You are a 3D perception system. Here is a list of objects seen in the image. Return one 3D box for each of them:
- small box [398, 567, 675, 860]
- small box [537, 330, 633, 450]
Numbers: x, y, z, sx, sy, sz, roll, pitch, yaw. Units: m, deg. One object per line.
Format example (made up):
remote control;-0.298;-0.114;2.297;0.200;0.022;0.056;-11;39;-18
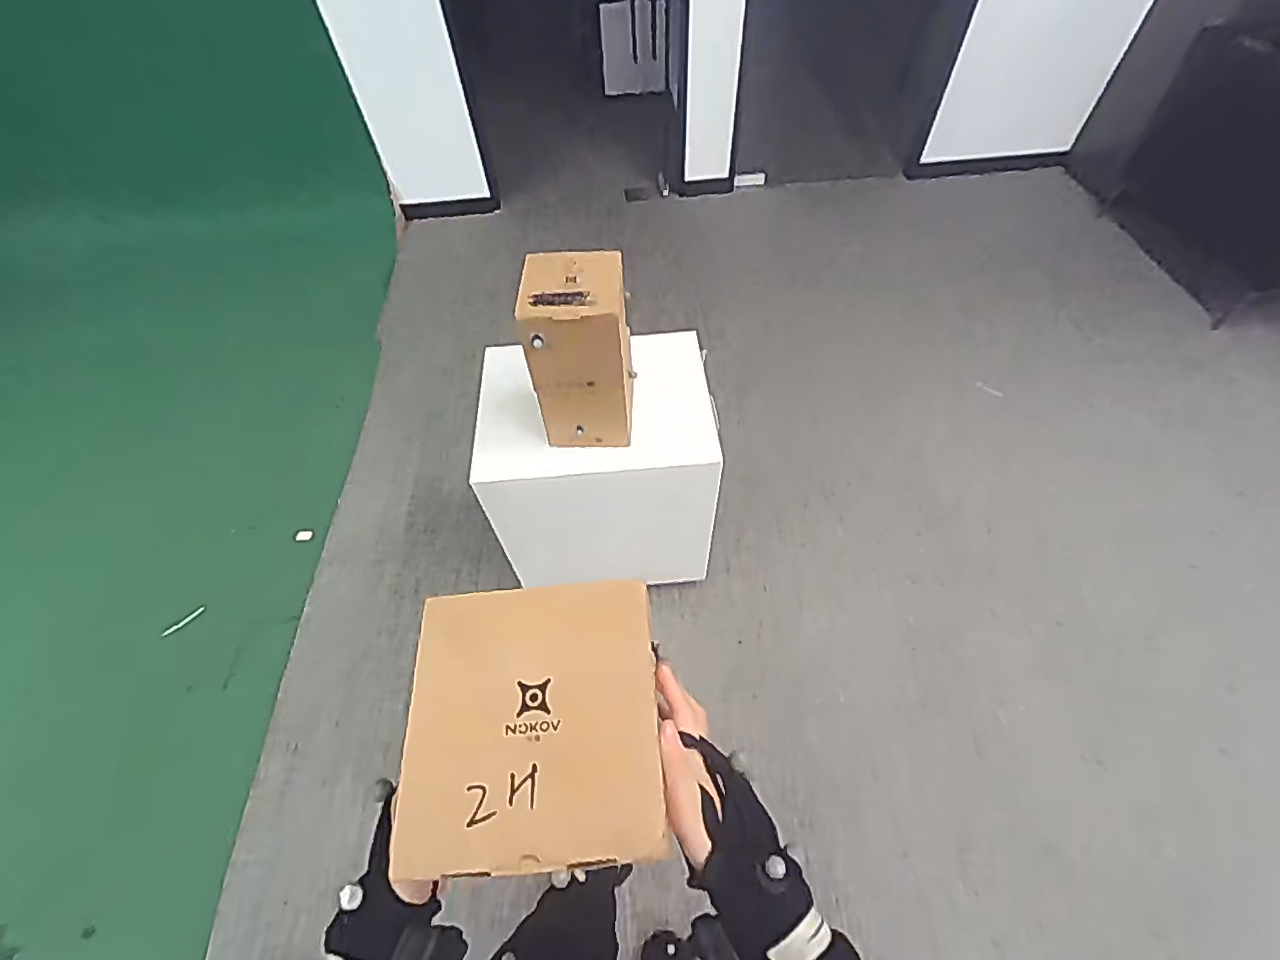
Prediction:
small box;-0.063;0.187;0.428;0.168;0.176;0.179;-5;57;0
small box;-0.102;-0.181;1.089;0.168;0.176;0.179;0;54;2
